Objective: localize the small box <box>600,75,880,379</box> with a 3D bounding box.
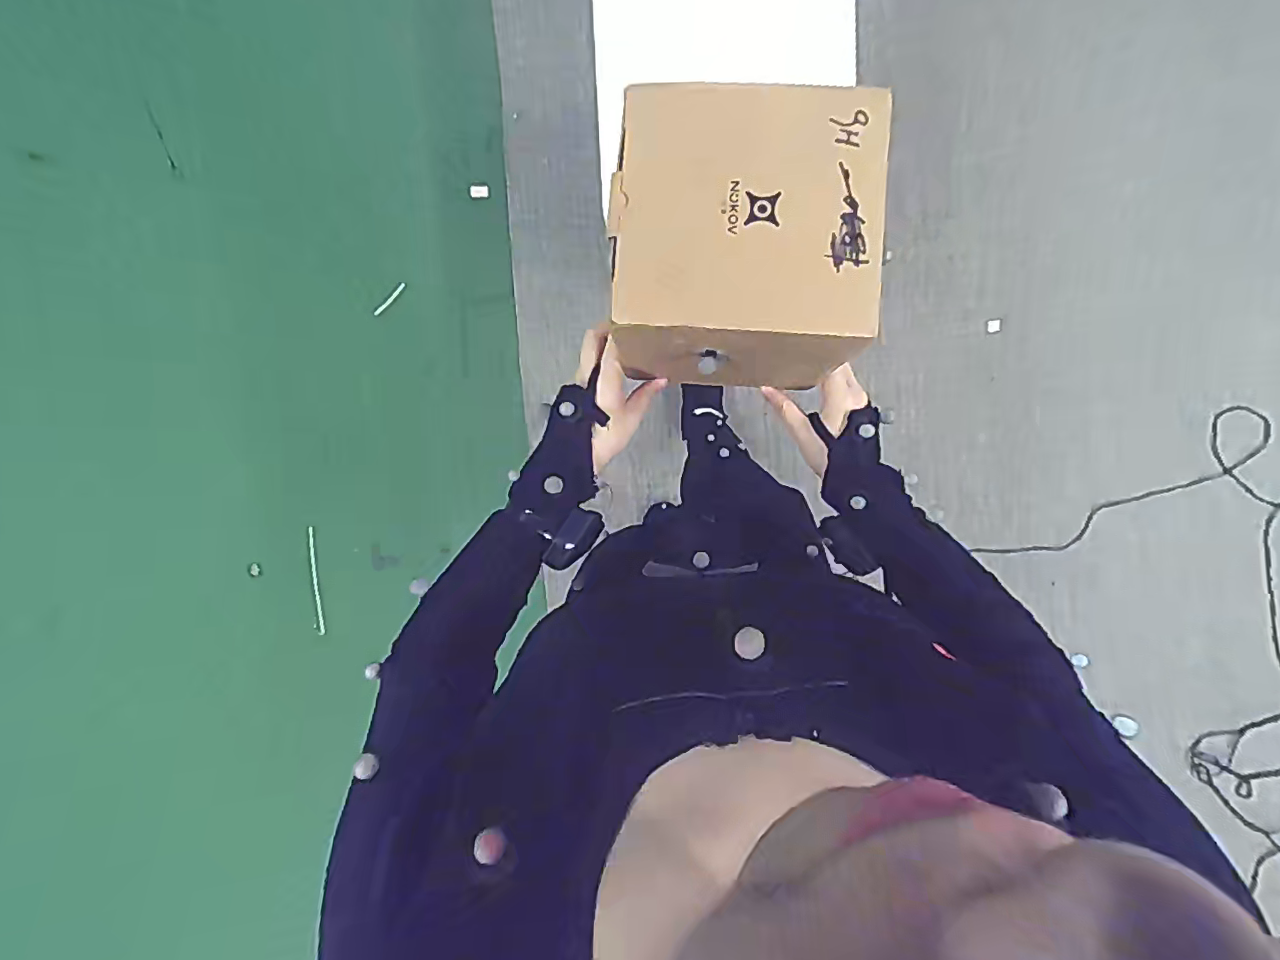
[{"bbox_3d":[0.071,-0.182,0.436,0.179,0.176,0.168,4,89,4],"label":"small box"}]
